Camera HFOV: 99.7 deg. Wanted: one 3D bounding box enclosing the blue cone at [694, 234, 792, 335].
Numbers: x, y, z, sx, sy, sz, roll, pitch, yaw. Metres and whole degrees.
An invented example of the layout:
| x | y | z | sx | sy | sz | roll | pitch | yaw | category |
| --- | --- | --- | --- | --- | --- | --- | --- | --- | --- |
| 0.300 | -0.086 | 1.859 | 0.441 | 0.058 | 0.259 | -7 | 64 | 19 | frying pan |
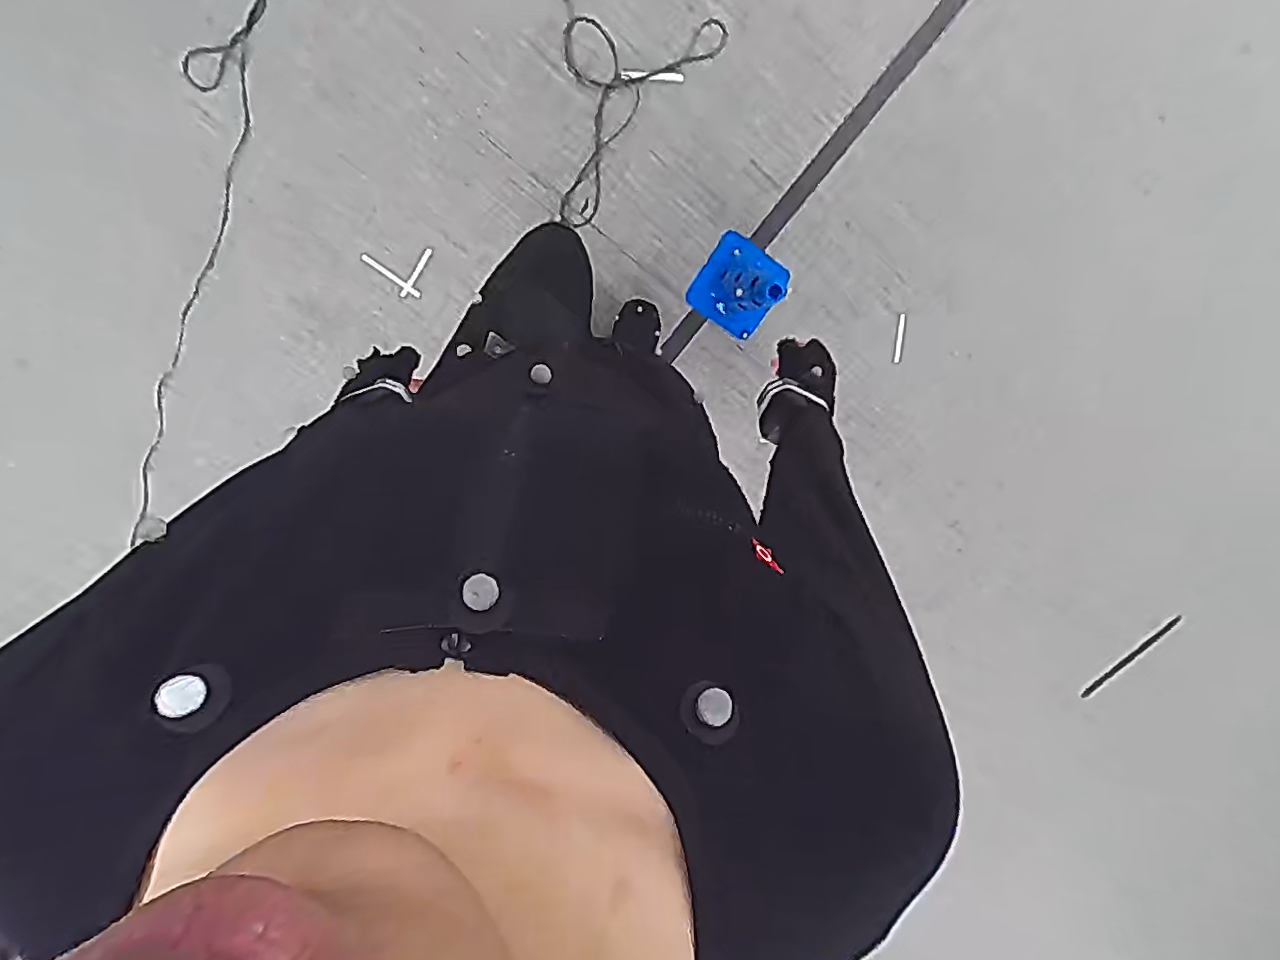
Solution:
| x | y | z | sx | sy | sz | roll | pitch | yaw | category |
| --- | --- | --- | --- | --- | --- | --- | --- | --- | --- |
| 0.253 | -0.424 | 1.189 | 0.192 | 0.380 | 0.193 | 33 | 106 | -14 | blue cone |
